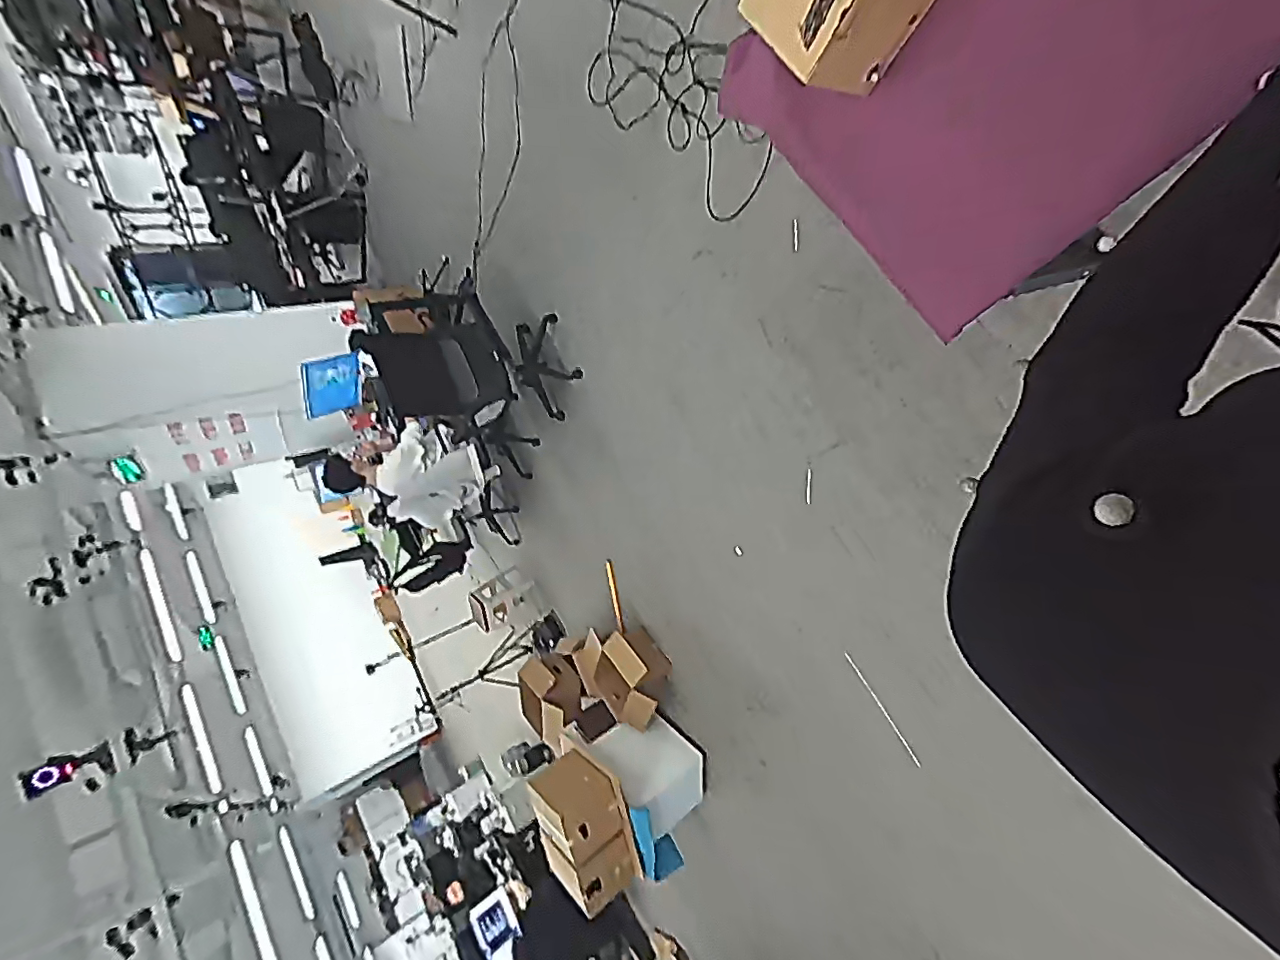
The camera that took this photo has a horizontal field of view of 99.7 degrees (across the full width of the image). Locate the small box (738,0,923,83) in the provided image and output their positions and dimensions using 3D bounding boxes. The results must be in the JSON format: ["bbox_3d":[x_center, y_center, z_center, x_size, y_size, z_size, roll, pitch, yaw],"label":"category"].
[{"bbox_3d":[0.280,-0.696,0.758,0.179,0.176,0.168,59,144,15],"label":"small box"}]
